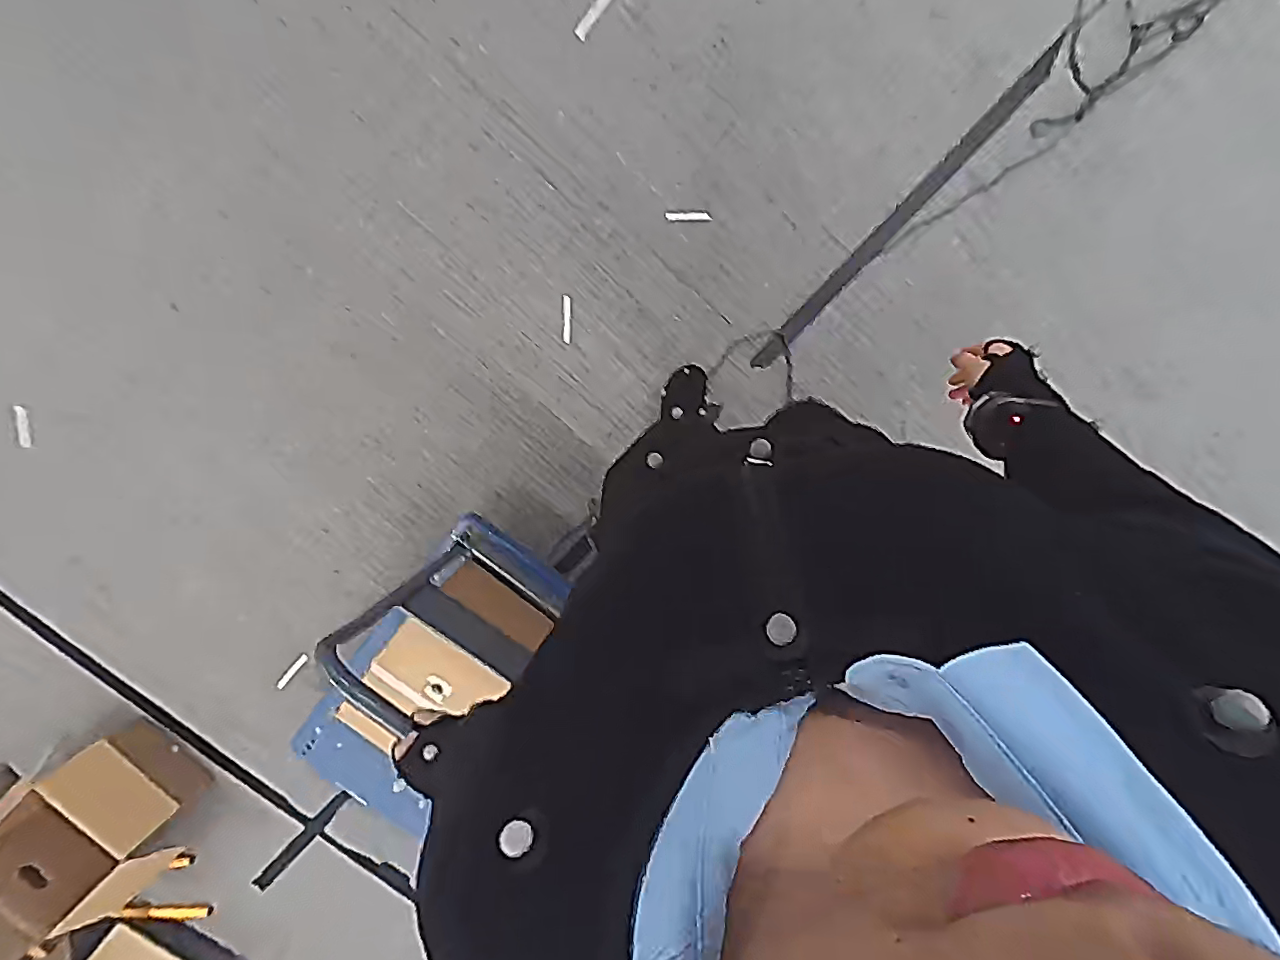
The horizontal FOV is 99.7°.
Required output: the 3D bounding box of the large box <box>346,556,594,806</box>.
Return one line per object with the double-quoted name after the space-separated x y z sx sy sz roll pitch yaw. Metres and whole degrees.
-0.370 0.451 1.280 0.408 0.320 0.320 38 100 -4 "large box"
